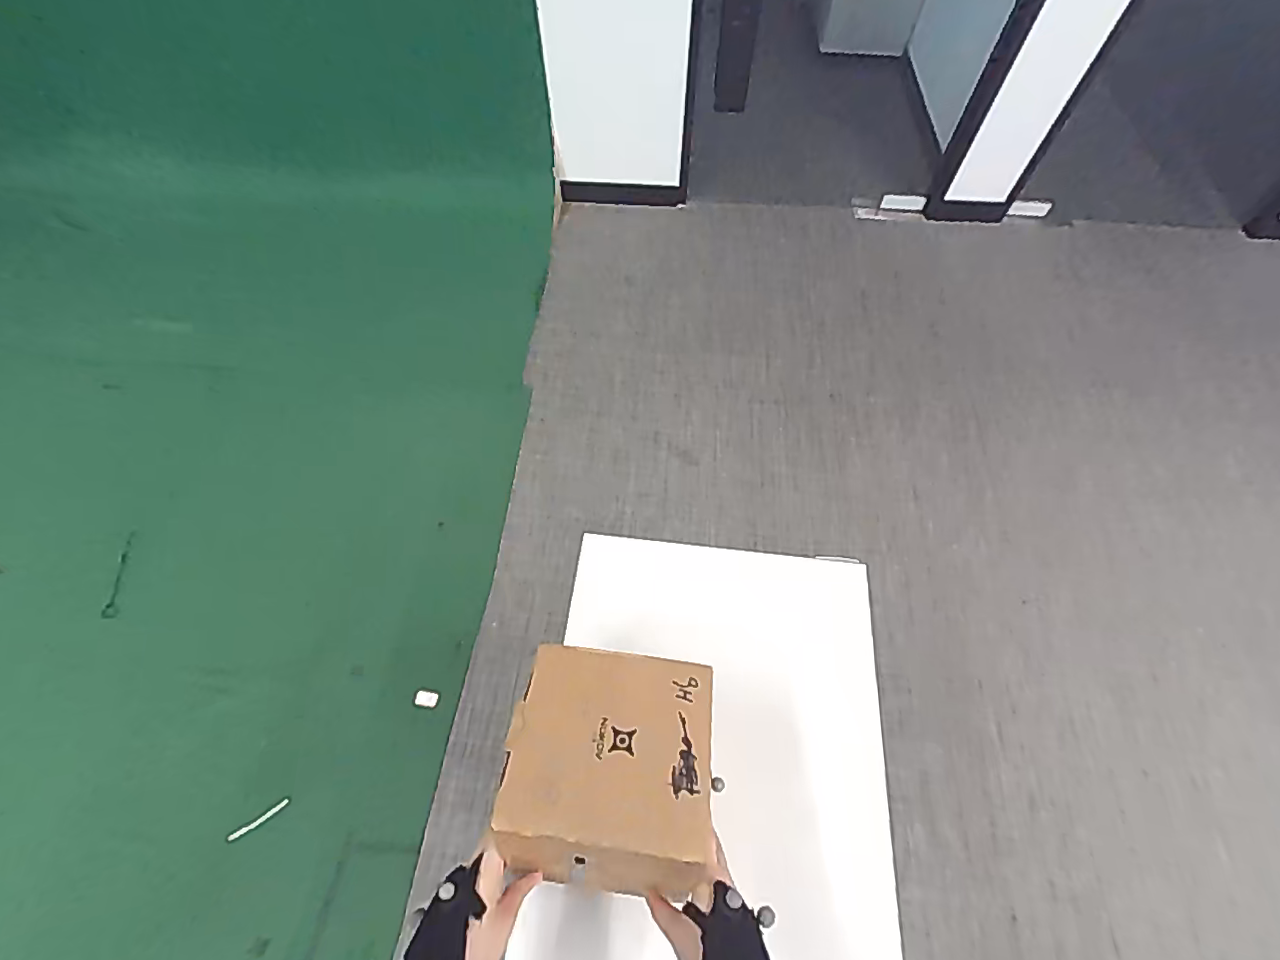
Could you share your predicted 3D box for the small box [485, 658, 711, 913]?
[{"bbox_3d":[-0.030,0.299,0.529,0.179,0.176,0.168,7,44,3],"label":"small box"}]
